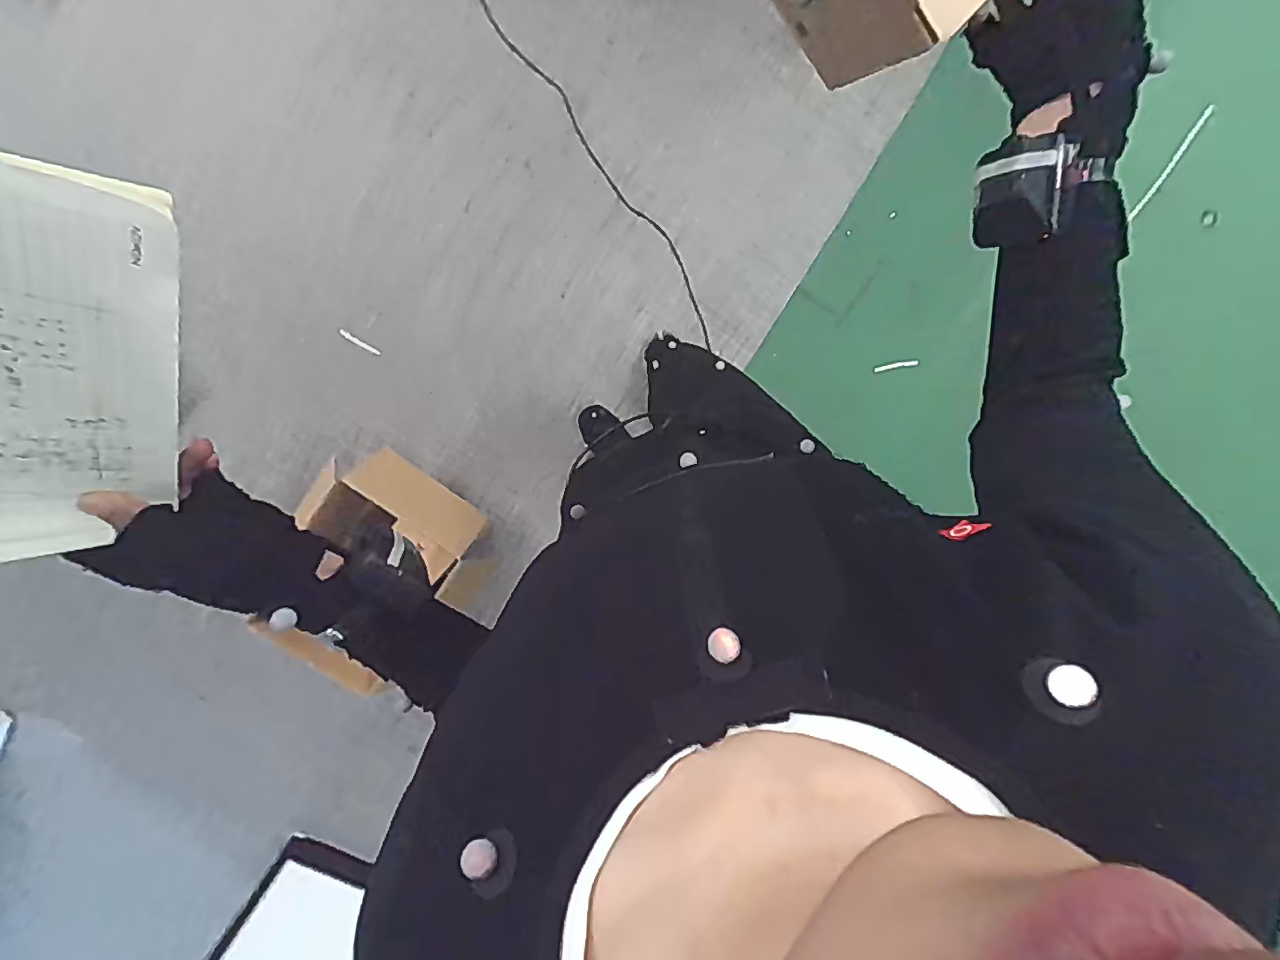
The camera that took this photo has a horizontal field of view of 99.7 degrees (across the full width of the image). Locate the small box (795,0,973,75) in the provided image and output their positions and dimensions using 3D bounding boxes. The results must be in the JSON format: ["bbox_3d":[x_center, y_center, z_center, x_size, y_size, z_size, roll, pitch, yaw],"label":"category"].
[{"bbox_3d":[0.201,-0.446,0.394,0.179,0.176,0.168,-43,114,15],"label":"small box"}]
